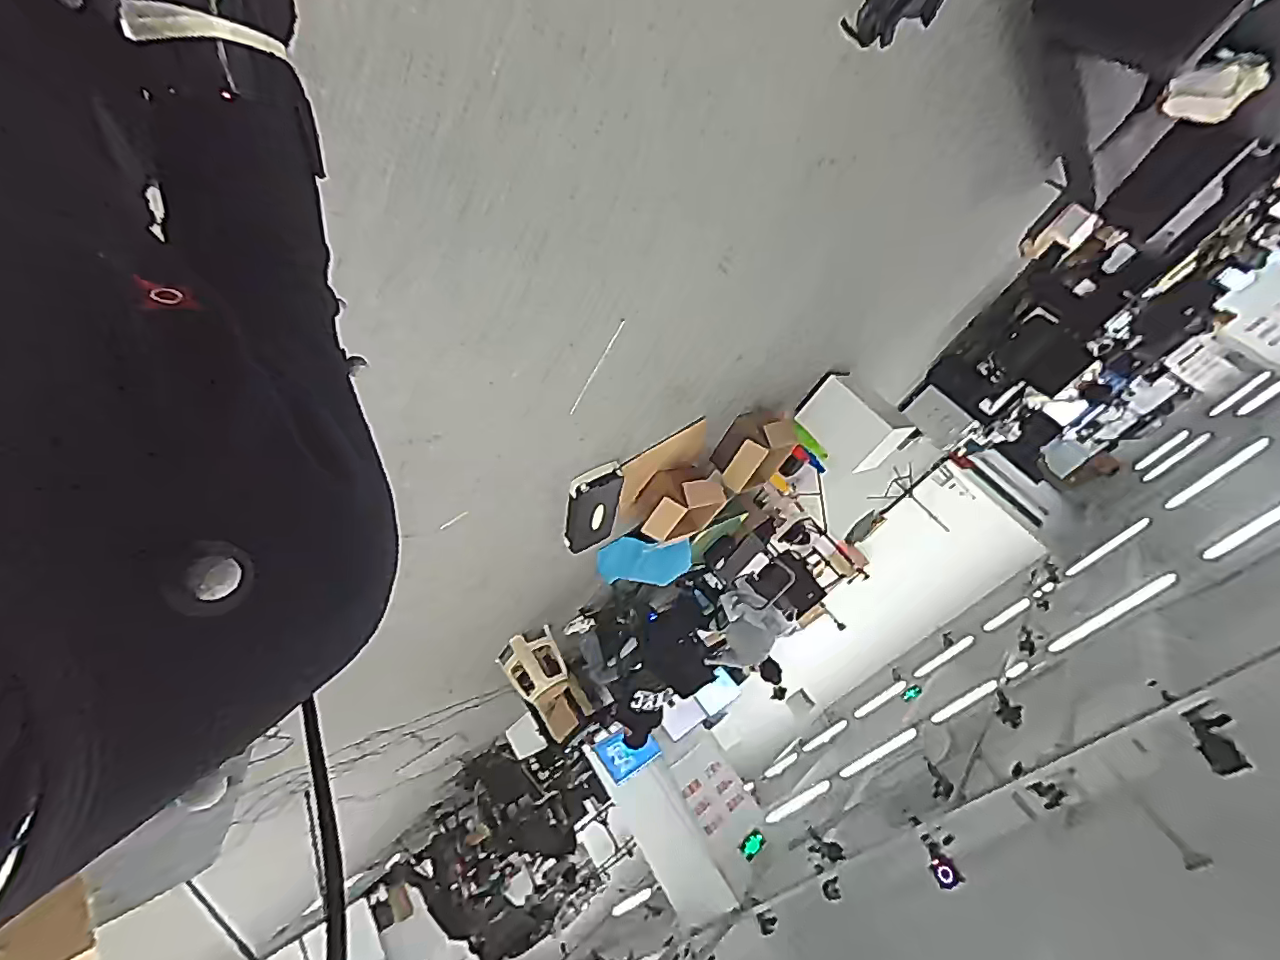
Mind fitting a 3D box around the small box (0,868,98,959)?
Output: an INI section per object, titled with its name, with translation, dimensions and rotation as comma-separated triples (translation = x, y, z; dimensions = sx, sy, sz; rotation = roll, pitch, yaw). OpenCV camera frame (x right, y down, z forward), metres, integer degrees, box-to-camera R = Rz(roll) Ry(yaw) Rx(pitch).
[small box]
translation = -1.276, 0.970, 1.134
dimensions = 0.179, 0.176, 0.168
rotation = -11, 146, -47
